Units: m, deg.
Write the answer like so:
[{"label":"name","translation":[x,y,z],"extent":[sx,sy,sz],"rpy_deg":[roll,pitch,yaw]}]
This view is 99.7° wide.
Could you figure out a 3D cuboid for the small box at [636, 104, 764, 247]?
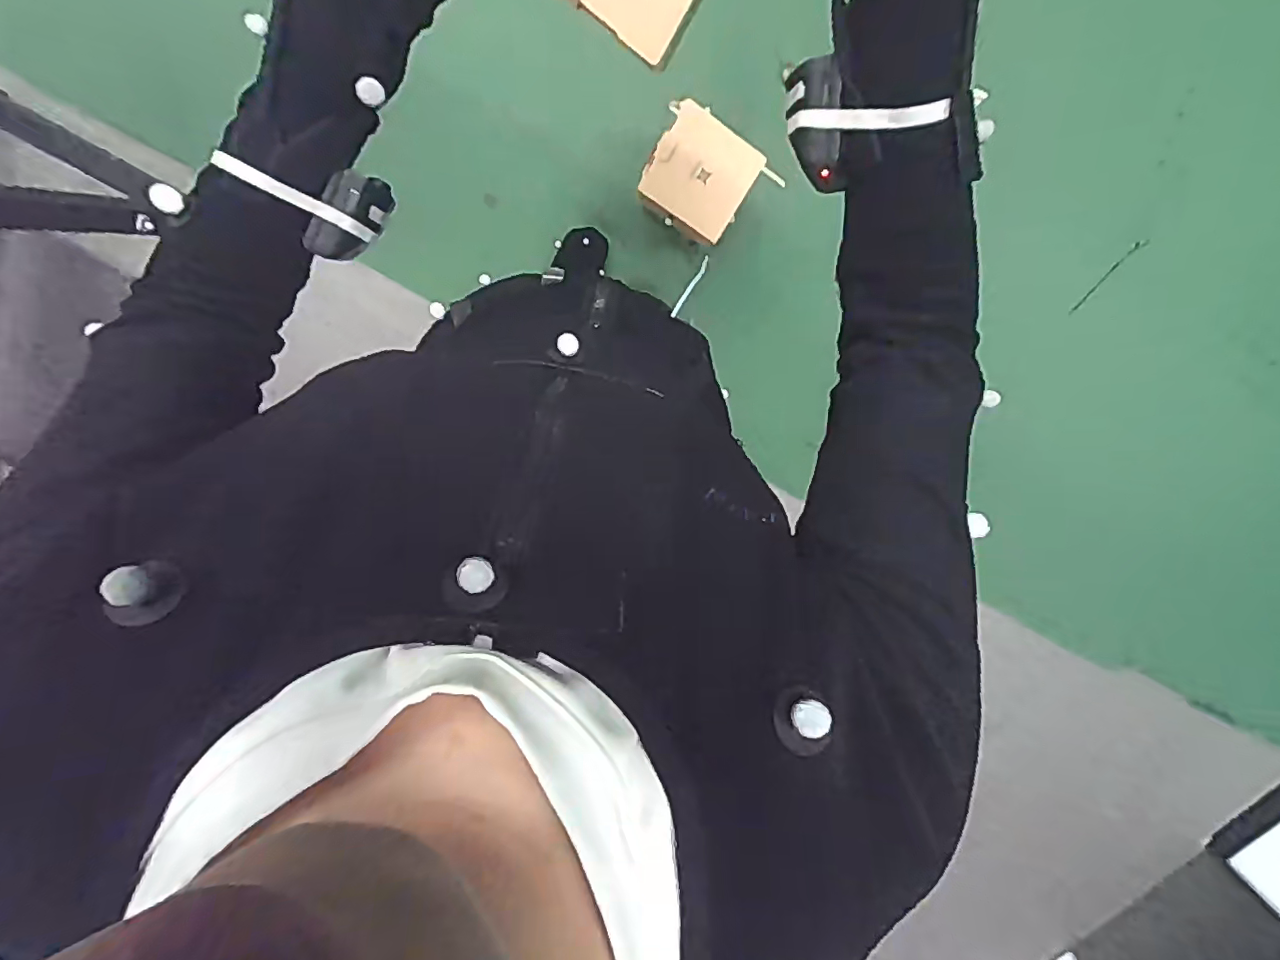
[{"label":"small box","translation":[0.108,-0.572,1.040],"extent":[0.179,0.176,0.168],"rpy_deg":[30,109,-12]}]
